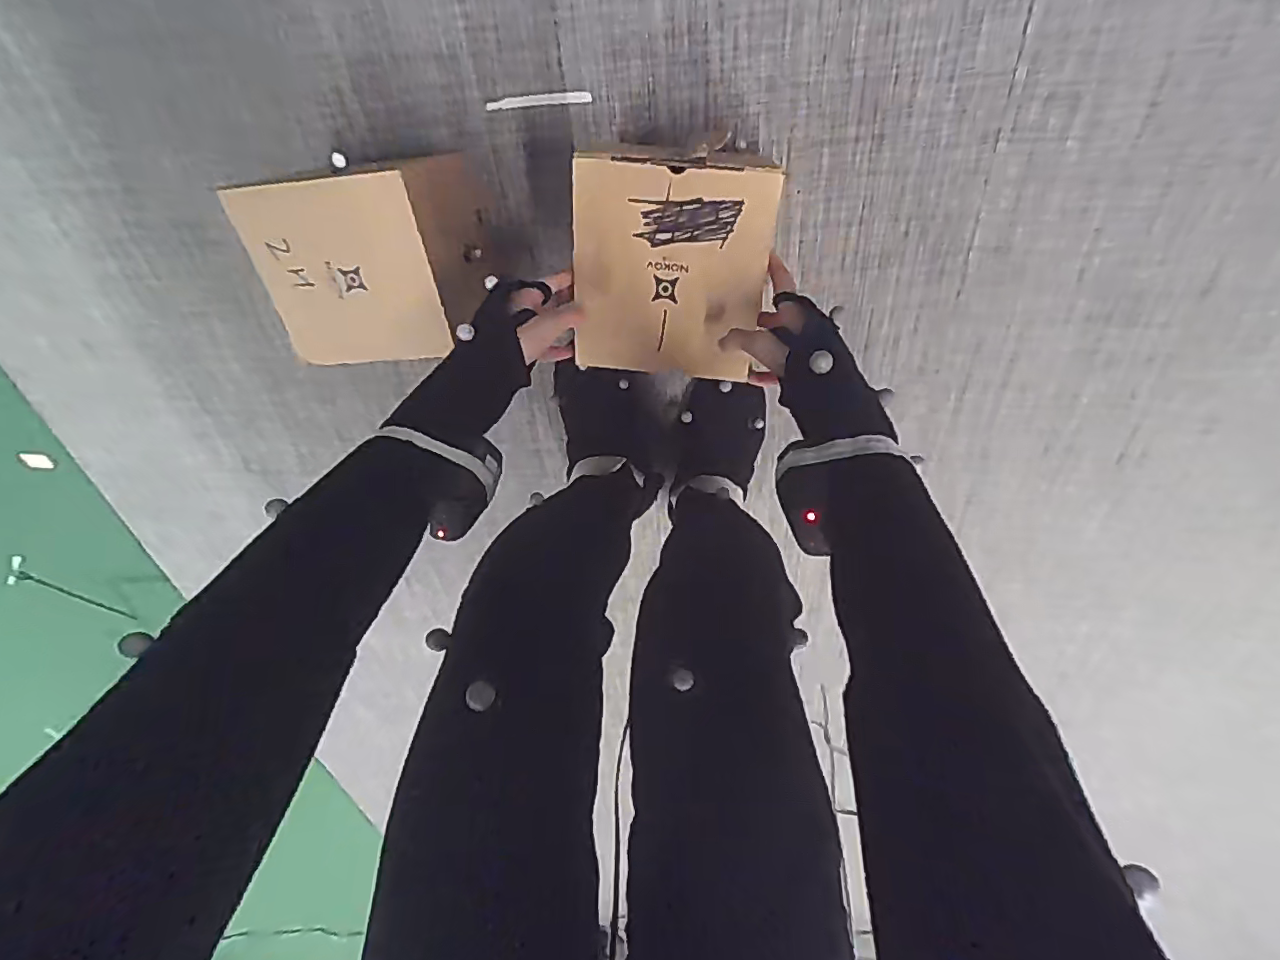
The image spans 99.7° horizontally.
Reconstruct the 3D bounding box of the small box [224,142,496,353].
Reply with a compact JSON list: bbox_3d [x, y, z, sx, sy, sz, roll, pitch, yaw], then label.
[{"bbox_3d":[-0.266,-0.248,0.573,0.179,0.176,0.168,-2,126,8],"label":"small box"}]

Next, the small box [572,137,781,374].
[{"bbox_3d":[0.031,-0.225,0.530,0.168,0.176,0.179,7,127,4],"label":"small box"}]
